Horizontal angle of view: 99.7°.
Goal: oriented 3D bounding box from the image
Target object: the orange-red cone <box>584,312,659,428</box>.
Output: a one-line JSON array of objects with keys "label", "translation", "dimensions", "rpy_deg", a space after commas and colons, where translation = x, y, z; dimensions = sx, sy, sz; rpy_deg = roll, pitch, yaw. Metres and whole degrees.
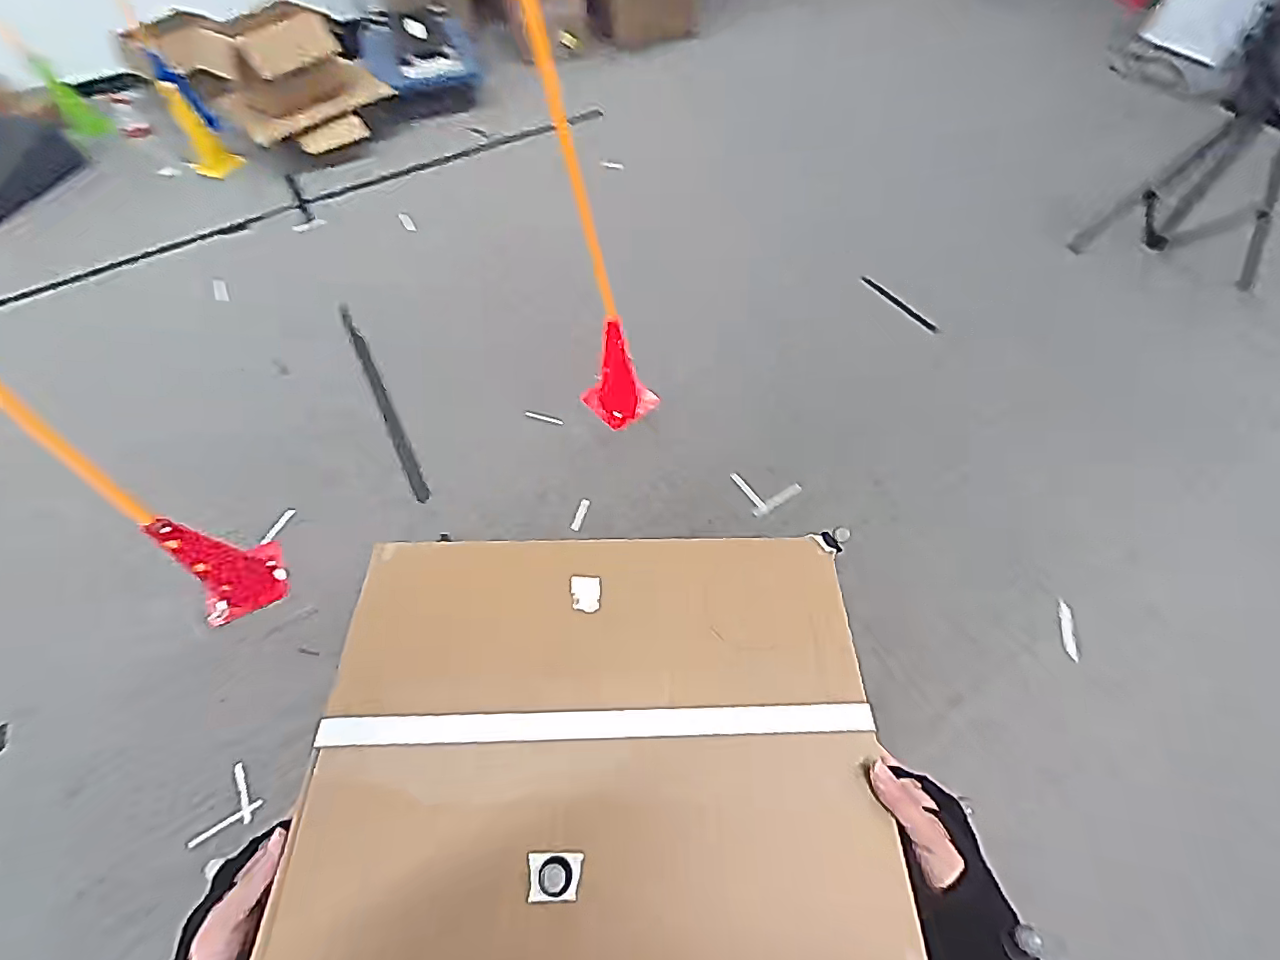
[{"label": "orange-red cone", "translation": [-0.065, -0.366, 1.672], "dimensions": [0.199, 0.360, 0.198], "rpy_deg": [-35, 63, -20]}]
